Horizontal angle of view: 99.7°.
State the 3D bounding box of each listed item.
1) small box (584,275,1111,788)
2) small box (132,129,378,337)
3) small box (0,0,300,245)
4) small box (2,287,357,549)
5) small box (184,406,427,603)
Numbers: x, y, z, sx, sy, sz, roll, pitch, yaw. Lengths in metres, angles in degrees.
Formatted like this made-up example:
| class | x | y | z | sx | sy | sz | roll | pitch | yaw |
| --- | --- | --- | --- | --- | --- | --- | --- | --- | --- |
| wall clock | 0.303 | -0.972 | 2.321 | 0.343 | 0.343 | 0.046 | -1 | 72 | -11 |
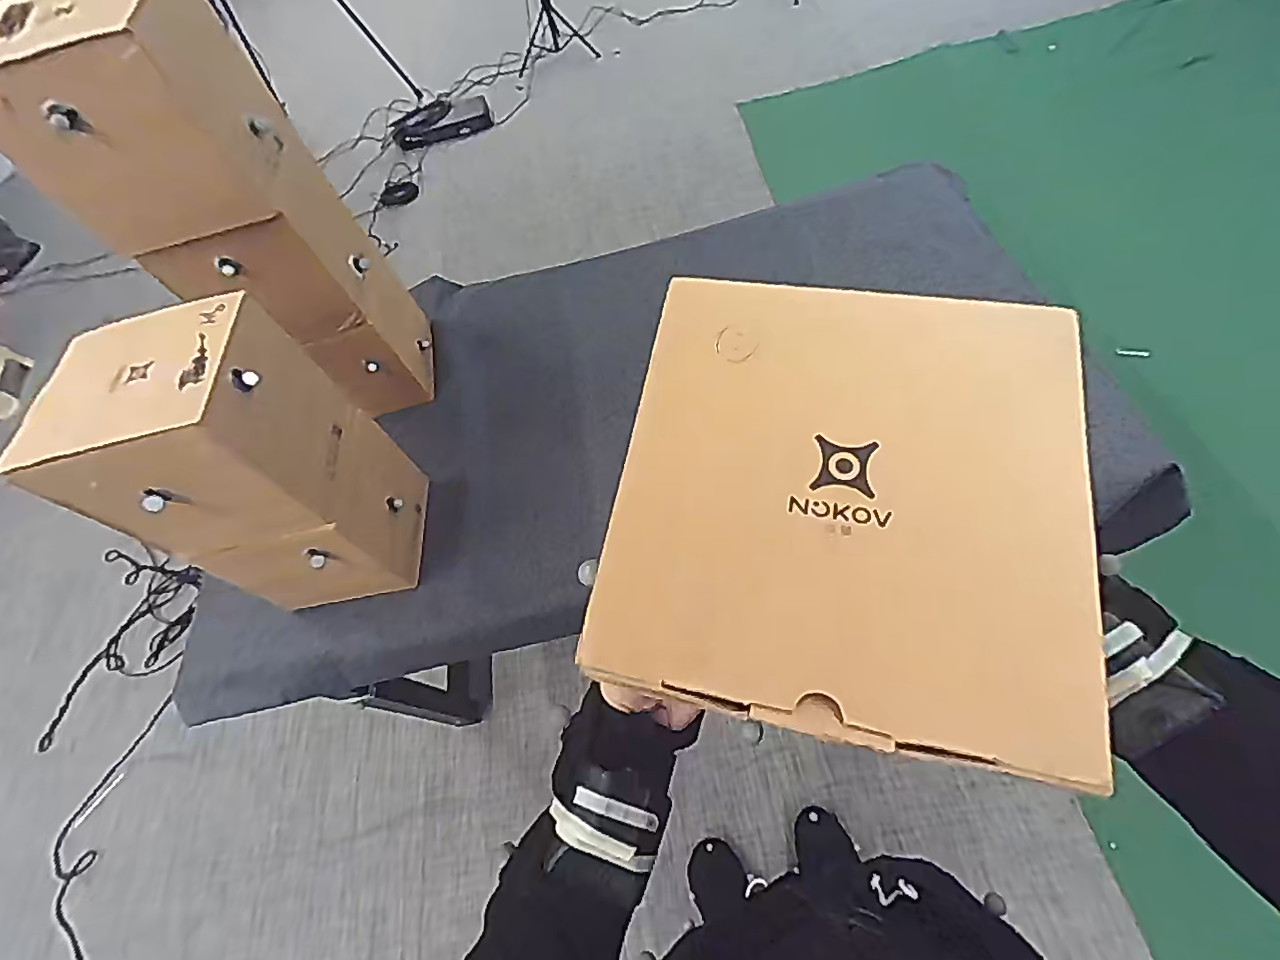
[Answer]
| class | x | y | z | sx | sy | sz | roll | pitch | yaw |
| --- | --- | --- | --- | --- | --- | --- | --- | --- | --- |
| small box | 0.084 | 0.029 | 0.275 | 0.168 | 0.176 | 0.179 | 9 | 70 | 11 |
| small box | -0.461 | -0.292 | 0.679 | 0.179 | 0.176 | 0.168 | -15 | 62 | 1 |
| small box | -0.482 | -0.362 | 0.531 | 0.179 | 0.176 | 0.168 | -14 | 61 | 2 |
| small box | -0.416 | -0.050 | 0.528 | 0.179 | 0.176 | 0.168 | -14 | 57 | 3 |
| small box | -0.385 | 0.037 | 0.664 | 0.179 | 0.176 | 0.168 | -11 | 57 | 5 |
